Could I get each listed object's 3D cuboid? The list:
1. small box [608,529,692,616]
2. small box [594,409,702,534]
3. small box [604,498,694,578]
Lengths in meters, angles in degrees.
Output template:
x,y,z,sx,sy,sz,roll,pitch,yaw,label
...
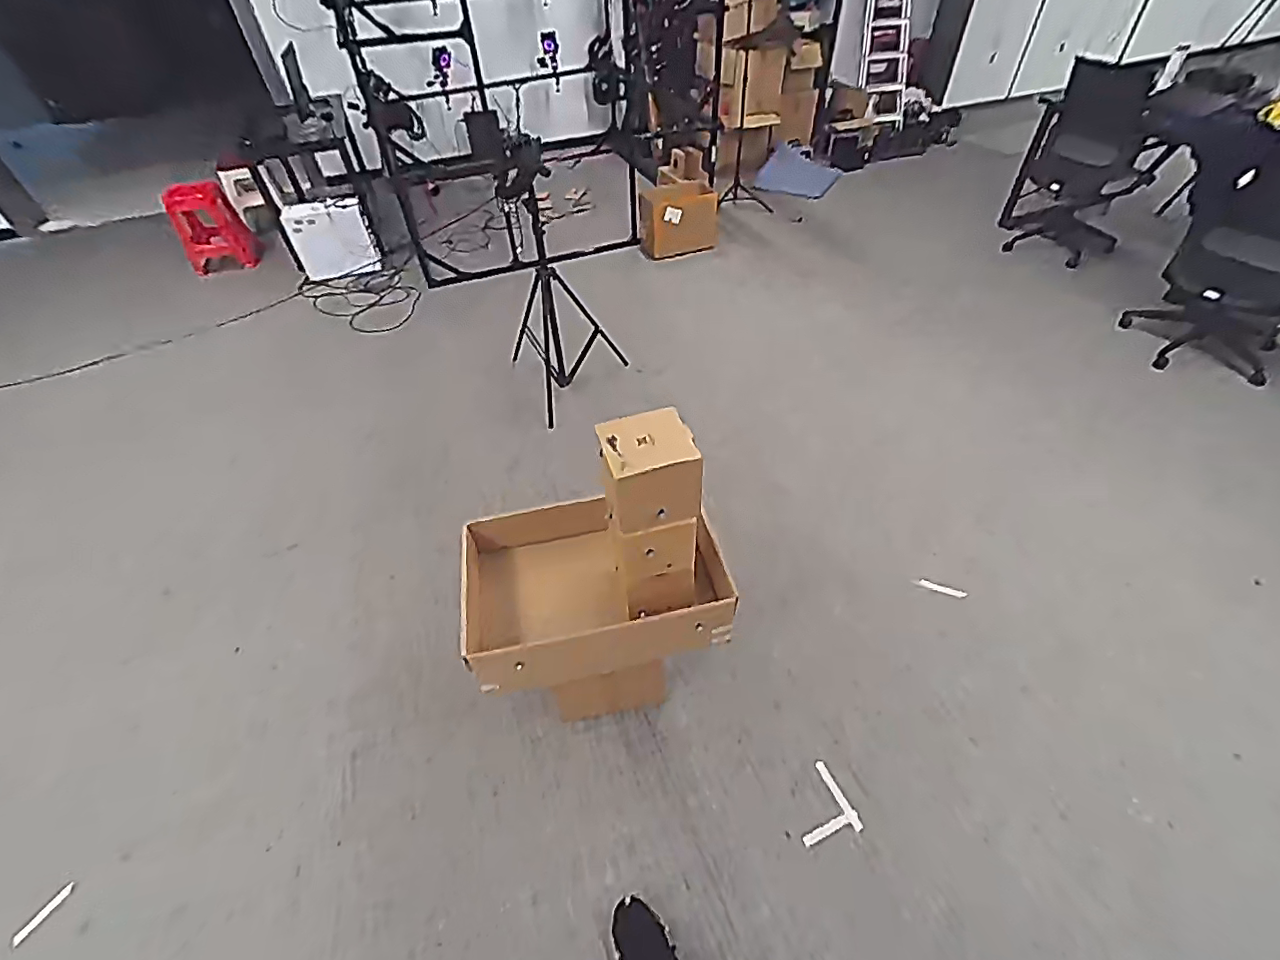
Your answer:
x,y,z,sx,sy,sz,roll,pitch,yaw,label
0.025,0.215,1.328,0.168,0.176,0.179,-13,46,-9,small box
0.013,-0.017,1.099,0.179,0.176,0.168,-13,45,-10,small box
0.019,0.101,1.213,0.168,0.176,0.179,-12,46,-9,small box
